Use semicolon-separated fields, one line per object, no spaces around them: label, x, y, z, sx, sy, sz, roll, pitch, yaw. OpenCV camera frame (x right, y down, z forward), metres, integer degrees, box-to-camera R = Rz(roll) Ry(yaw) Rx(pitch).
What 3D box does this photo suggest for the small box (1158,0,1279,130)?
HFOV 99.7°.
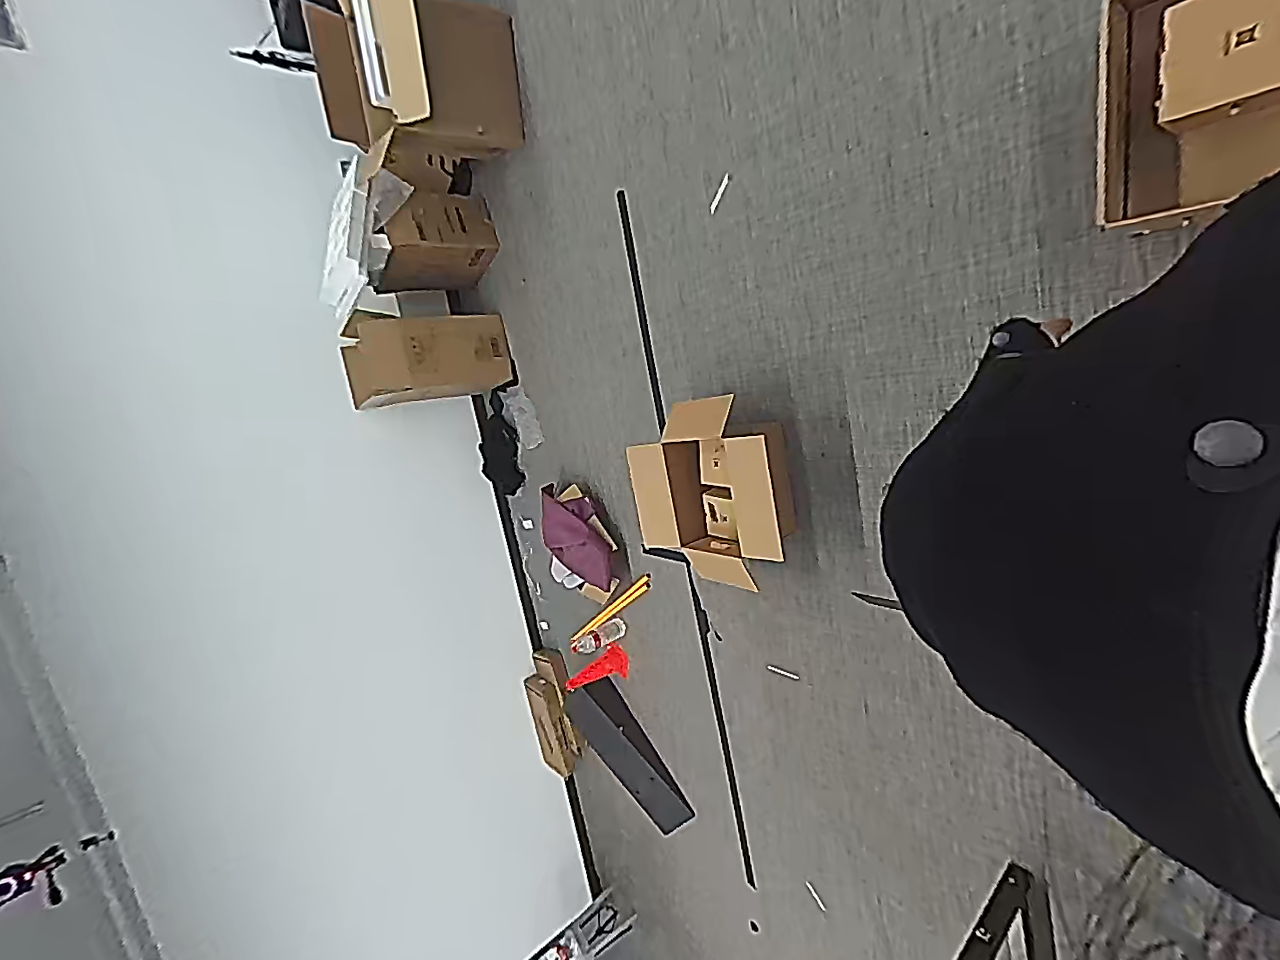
small box;0.957;-0.681;0.853;0.179;0.176;0.168;6;112;50
